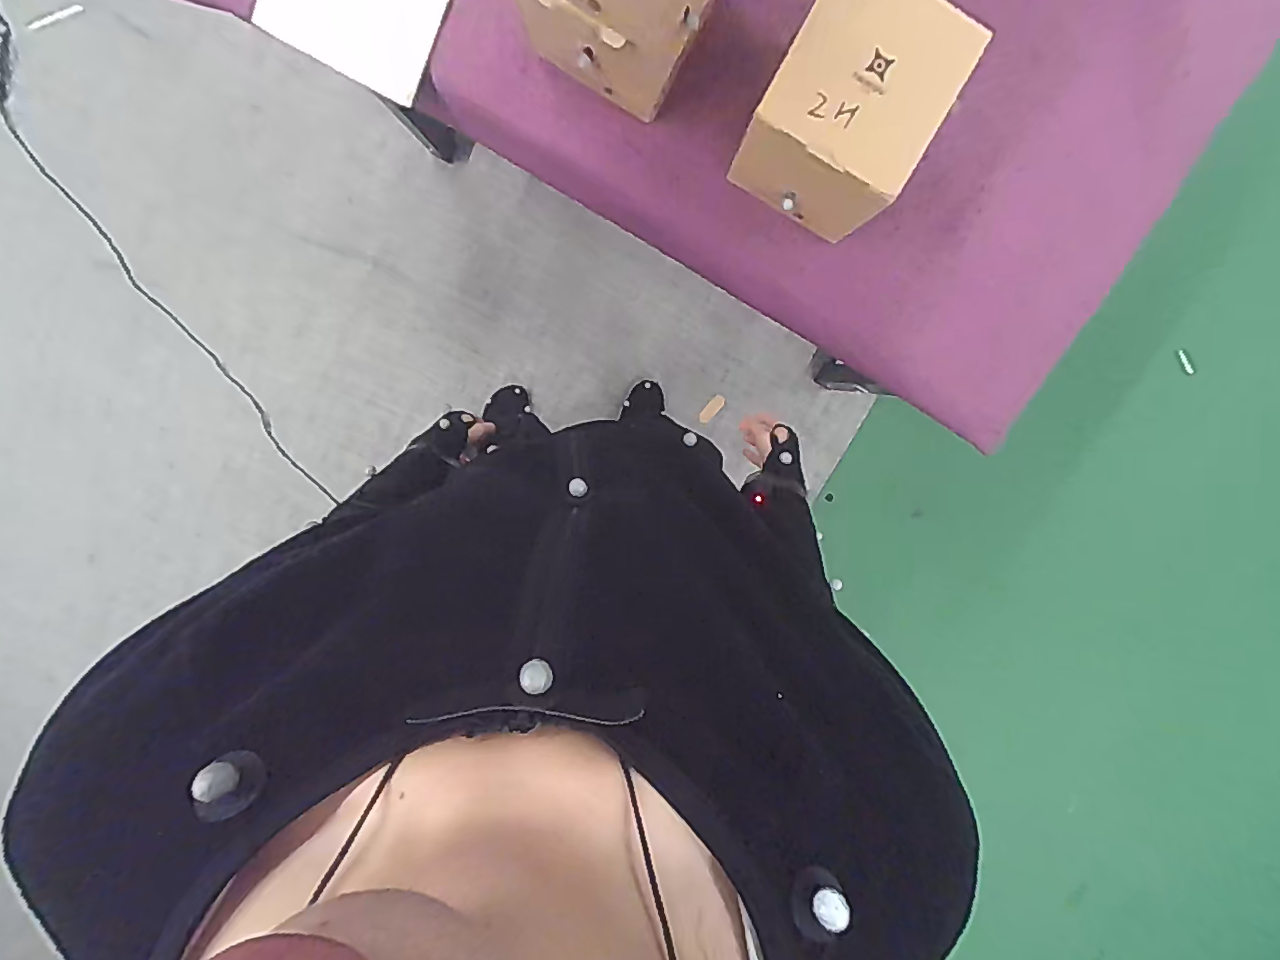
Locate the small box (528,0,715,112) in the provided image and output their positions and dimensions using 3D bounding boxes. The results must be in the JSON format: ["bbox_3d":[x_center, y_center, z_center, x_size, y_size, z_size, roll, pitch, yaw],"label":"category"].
[{"bbox_3d":[-0.011,-0.546,0.576,0.168,0.176,0.179,29,100,-7],"label":"small box"}]

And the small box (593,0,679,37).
[{"bbox_3d":[-0.013,-0.508,0.416,0.168,0.176,0.179,29,99,-6],"label":"small box"}]
